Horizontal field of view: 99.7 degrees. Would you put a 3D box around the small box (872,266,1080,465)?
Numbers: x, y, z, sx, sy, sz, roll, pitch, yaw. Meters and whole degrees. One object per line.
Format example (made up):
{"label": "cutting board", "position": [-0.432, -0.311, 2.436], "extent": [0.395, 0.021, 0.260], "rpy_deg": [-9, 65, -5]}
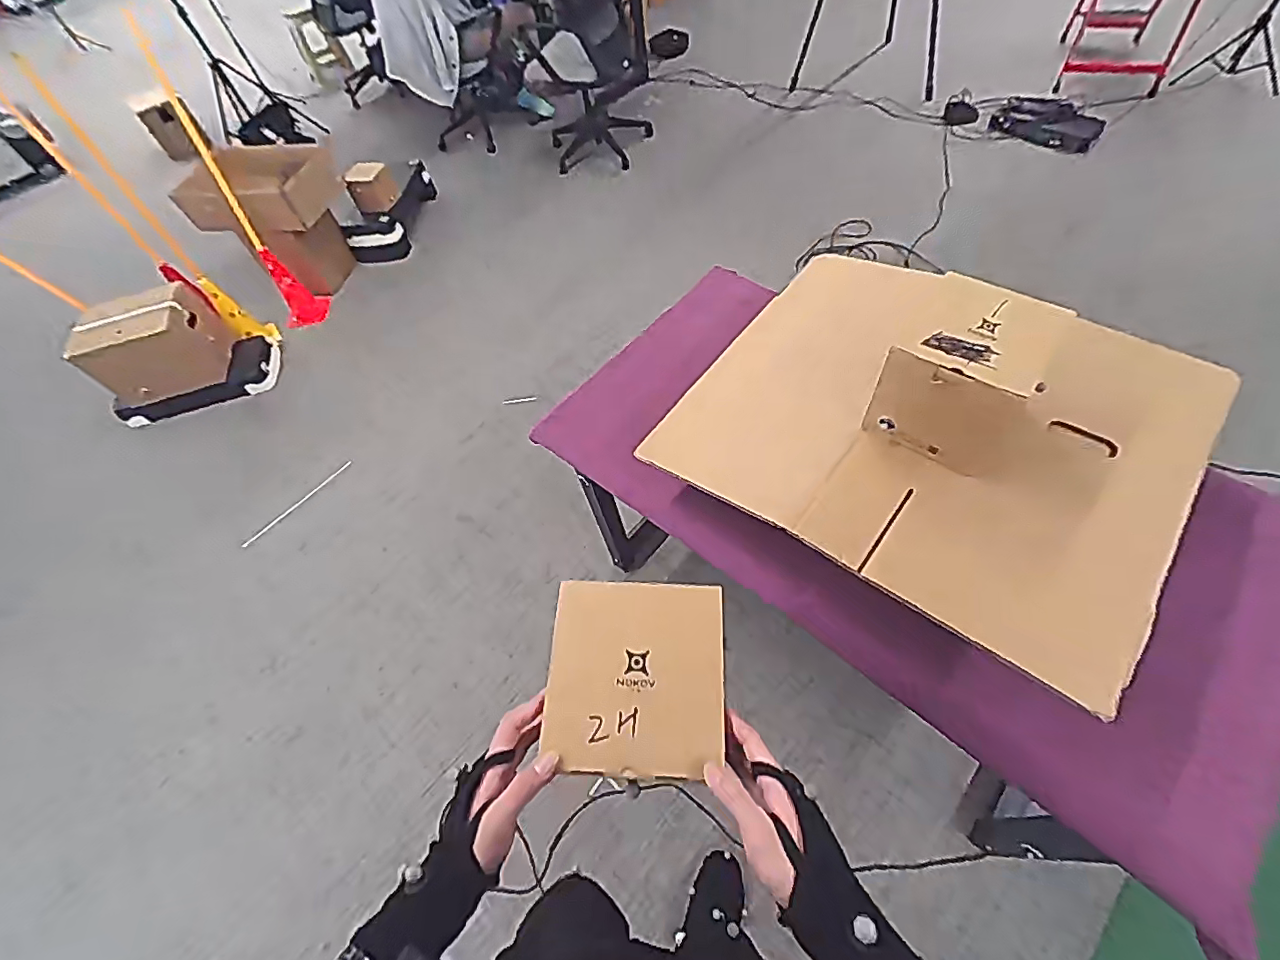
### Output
{"label": "small box", "position": [0.443, -0.152, 0.743], "extent": [0.168, 0.176, 0.179], "rpy_deg": [32, 67, 24]}
